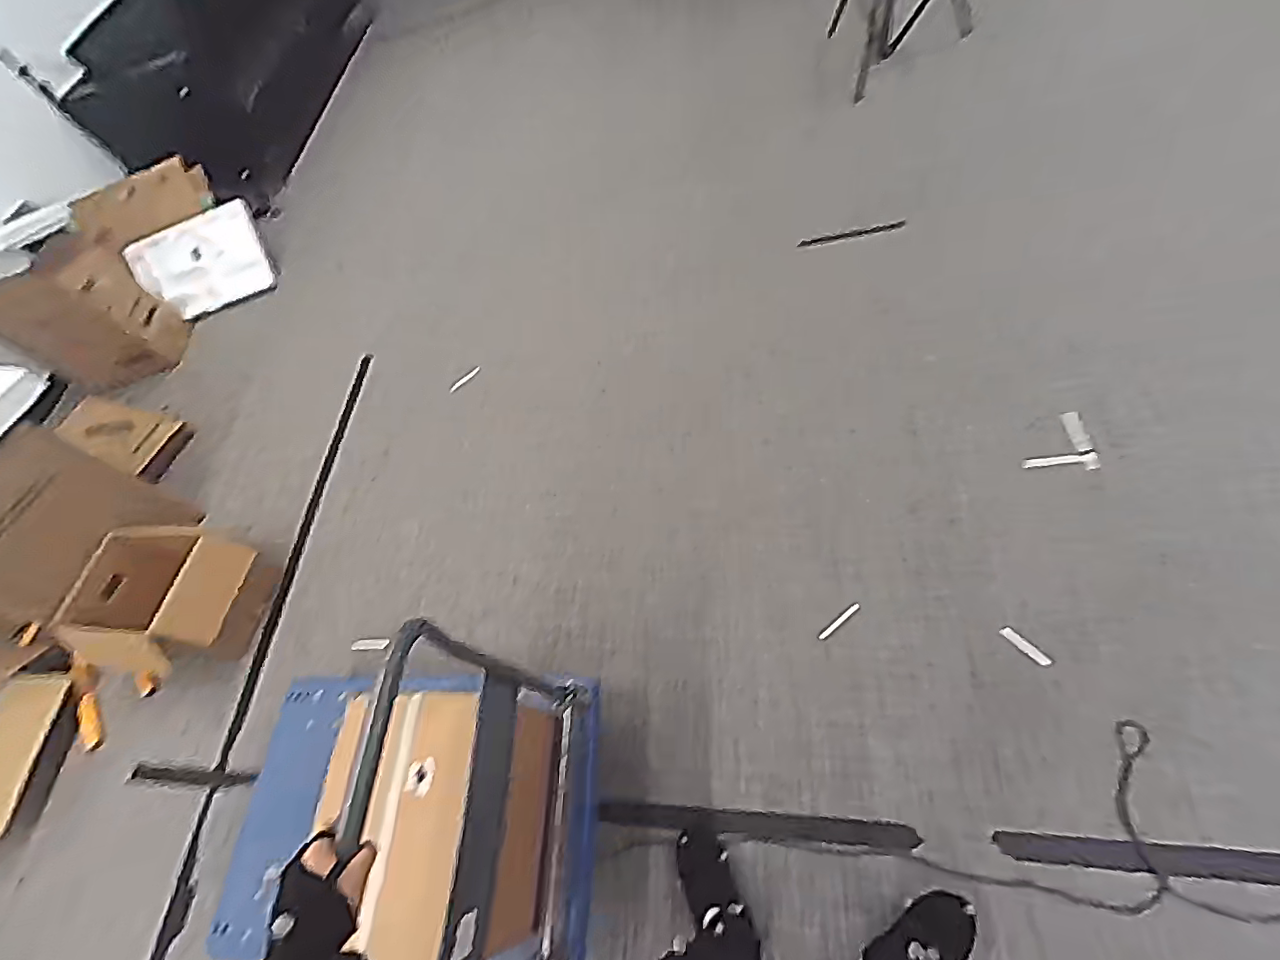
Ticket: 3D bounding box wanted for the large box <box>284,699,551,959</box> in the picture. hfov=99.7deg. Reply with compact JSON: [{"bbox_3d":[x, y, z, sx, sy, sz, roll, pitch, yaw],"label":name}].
[{"bbox_3d":[-0.388,0.669,1.056,0.320,0.320,0.408,-6,58,13],"label":"large box"}]
